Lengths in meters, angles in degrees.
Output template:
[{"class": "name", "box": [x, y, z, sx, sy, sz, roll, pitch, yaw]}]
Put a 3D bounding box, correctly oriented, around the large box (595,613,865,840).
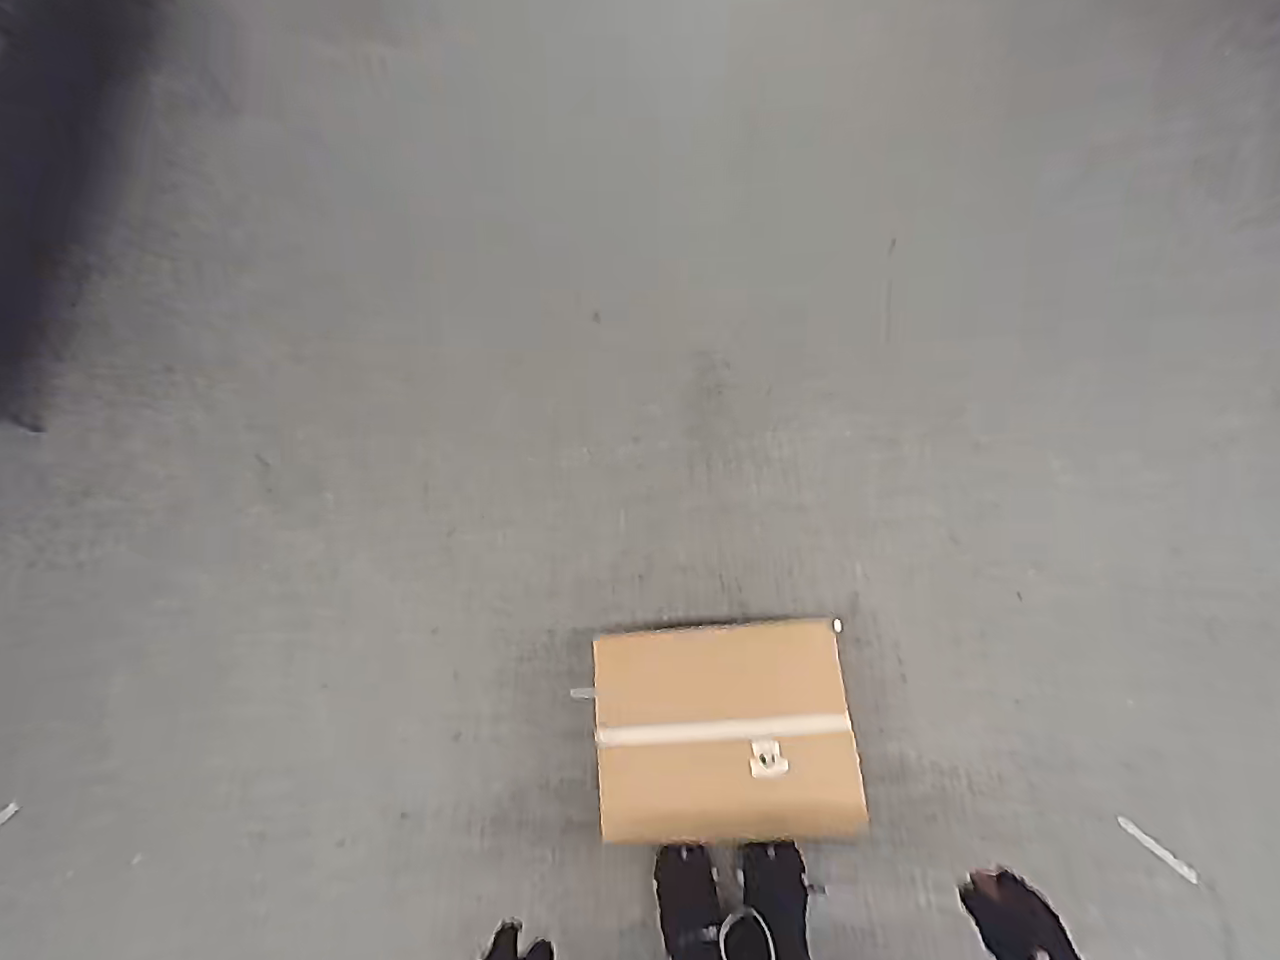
[{"class": "large box", "box": [0.143, 0.437, 1.008, 0.408, 0.320, 0.320, -6, 72, 4]}]
